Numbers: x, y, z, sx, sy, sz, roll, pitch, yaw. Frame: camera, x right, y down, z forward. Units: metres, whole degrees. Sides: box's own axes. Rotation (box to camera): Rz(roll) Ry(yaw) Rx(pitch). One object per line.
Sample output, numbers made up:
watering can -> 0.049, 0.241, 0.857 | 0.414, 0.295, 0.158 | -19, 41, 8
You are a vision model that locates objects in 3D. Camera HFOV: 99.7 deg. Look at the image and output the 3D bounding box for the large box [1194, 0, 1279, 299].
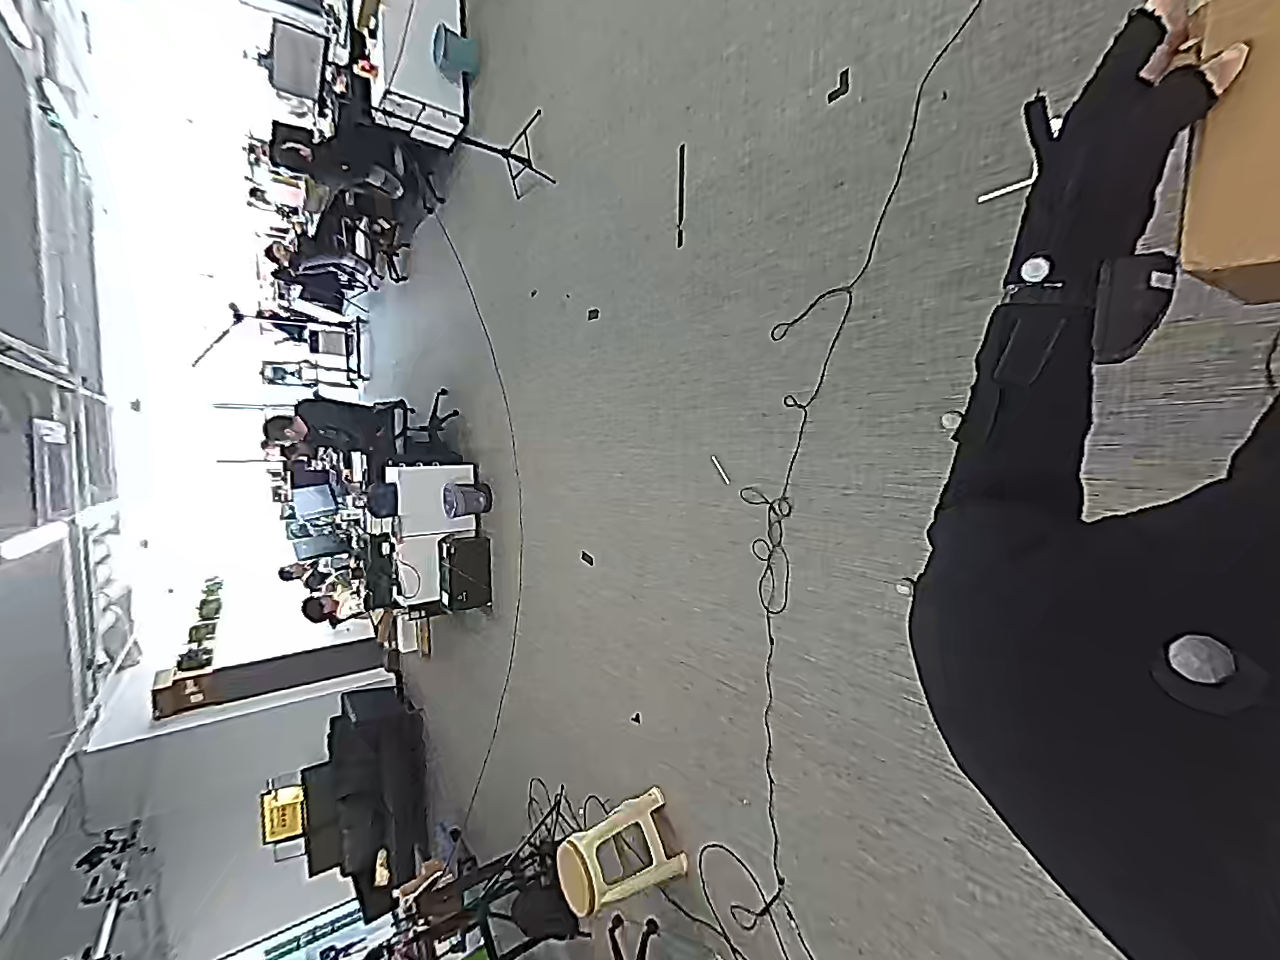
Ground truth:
large box -> 0.561, -0.283, 0.242 | 0.408, 0.320, 0.320 | 8, 105, 51
